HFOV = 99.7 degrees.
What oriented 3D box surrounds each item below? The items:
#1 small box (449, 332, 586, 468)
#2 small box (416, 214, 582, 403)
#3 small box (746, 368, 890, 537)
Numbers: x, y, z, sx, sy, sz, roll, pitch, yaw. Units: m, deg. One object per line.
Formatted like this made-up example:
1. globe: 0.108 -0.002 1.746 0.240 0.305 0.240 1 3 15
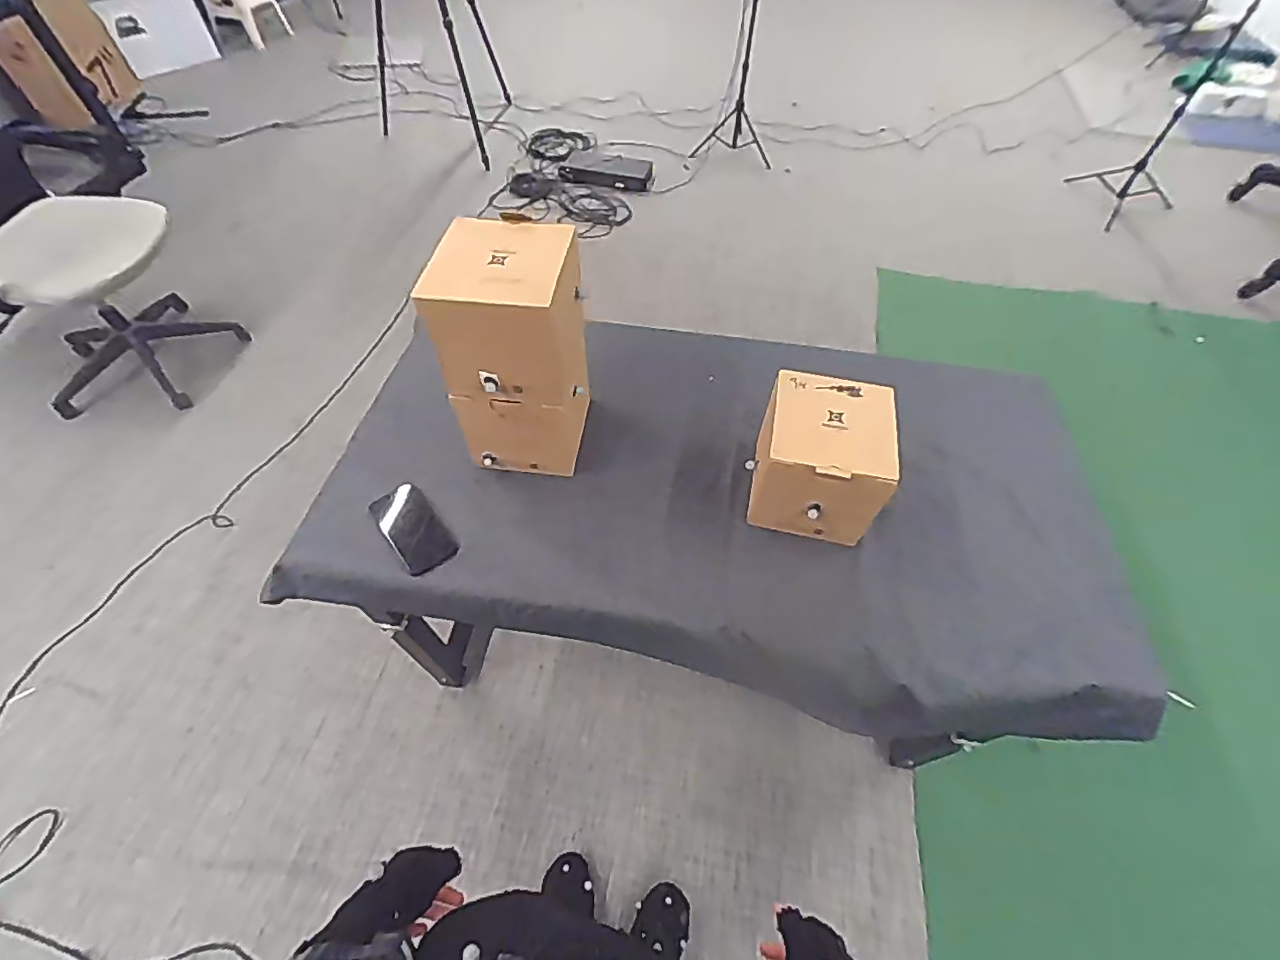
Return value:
1. small box: -0.181 -0.137 0.867 0.168 0.176 0.179 6 54 2
2. small box: -0.174 -0.230 0.735 0.168 0.176 0.179 5 56 3
3. small box: 0.260 -0.036 0.811 0.168 0.176 0.179 11 56 7
